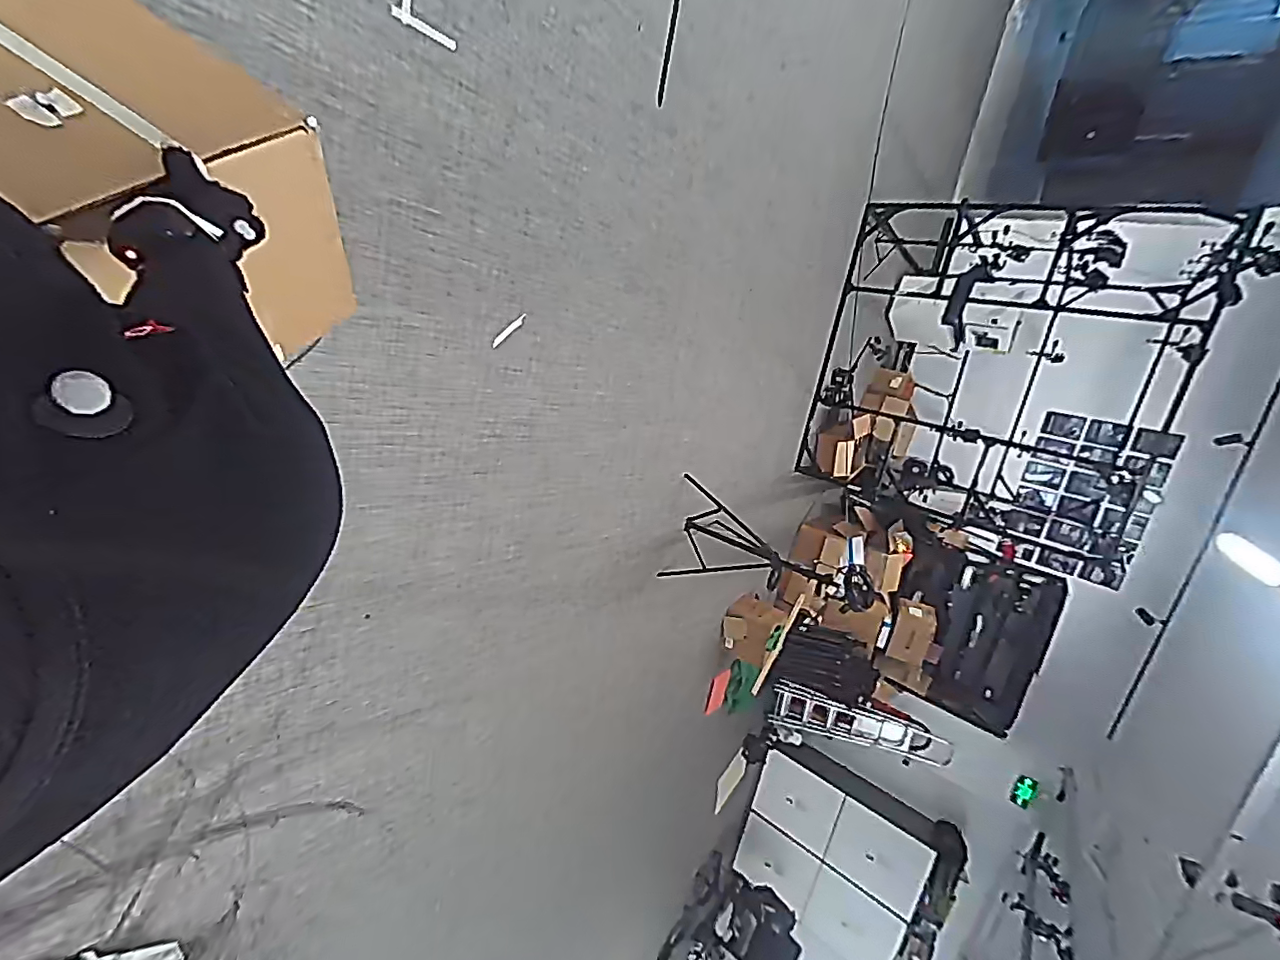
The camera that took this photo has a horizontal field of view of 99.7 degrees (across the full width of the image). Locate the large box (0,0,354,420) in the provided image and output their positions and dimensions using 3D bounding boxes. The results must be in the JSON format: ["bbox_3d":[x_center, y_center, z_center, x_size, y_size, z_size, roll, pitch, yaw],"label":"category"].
[{"bbox_3d":[-0.670,-0.359,0.711,0.320,0.408,0.320,-53,176,-33],"label":"large box"}]
